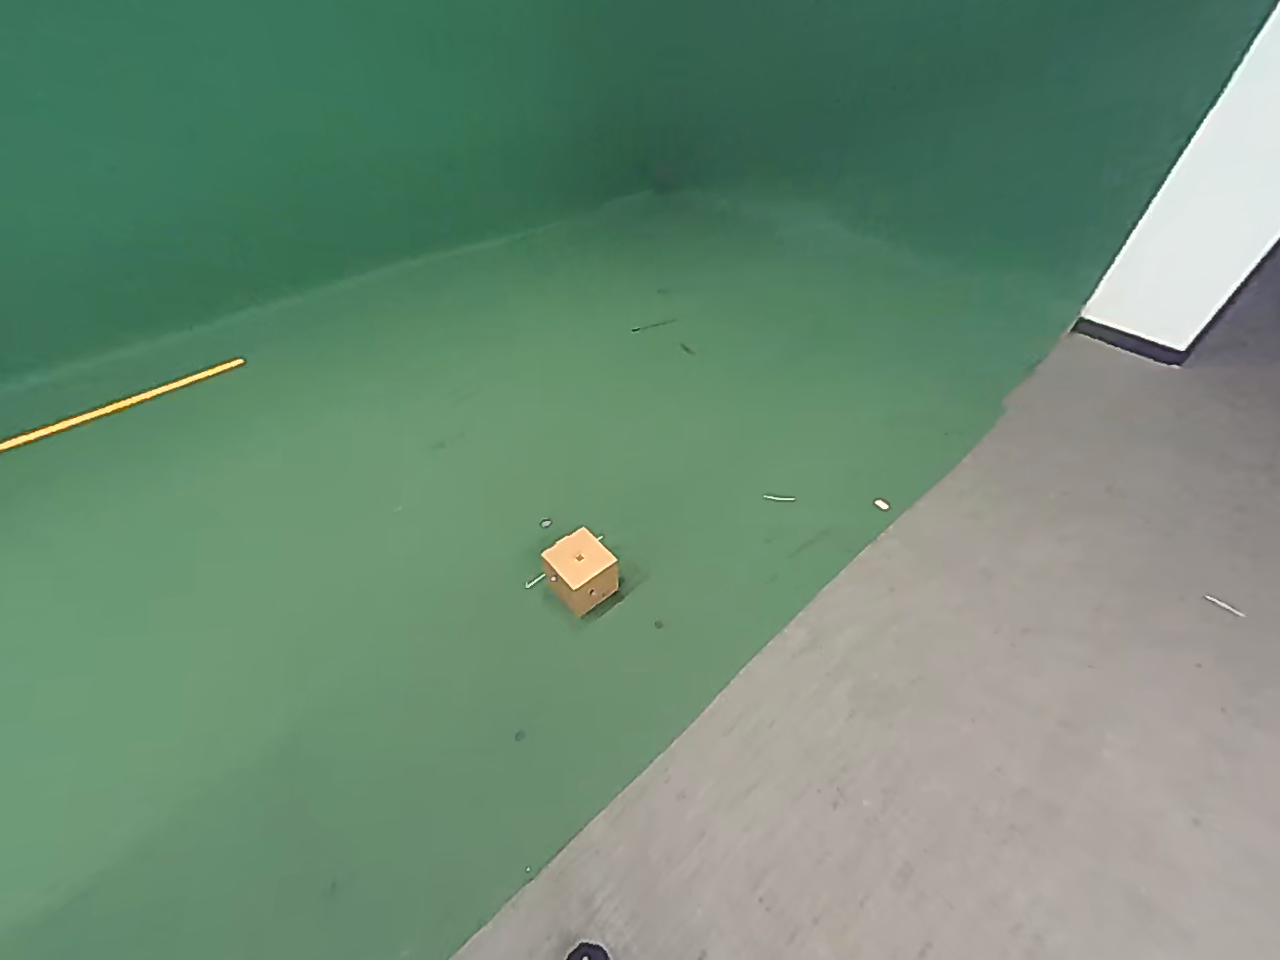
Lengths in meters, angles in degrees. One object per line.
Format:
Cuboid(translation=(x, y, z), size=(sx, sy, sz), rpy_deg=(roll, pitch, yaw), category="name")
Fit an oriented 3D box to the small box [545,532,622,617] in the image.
Cuboid(translation=(-0.172, 0.304, 1.697), size=(0.168, 0.176, 0.179), rpy_deg=(-33, 53, -26), category="small box")
